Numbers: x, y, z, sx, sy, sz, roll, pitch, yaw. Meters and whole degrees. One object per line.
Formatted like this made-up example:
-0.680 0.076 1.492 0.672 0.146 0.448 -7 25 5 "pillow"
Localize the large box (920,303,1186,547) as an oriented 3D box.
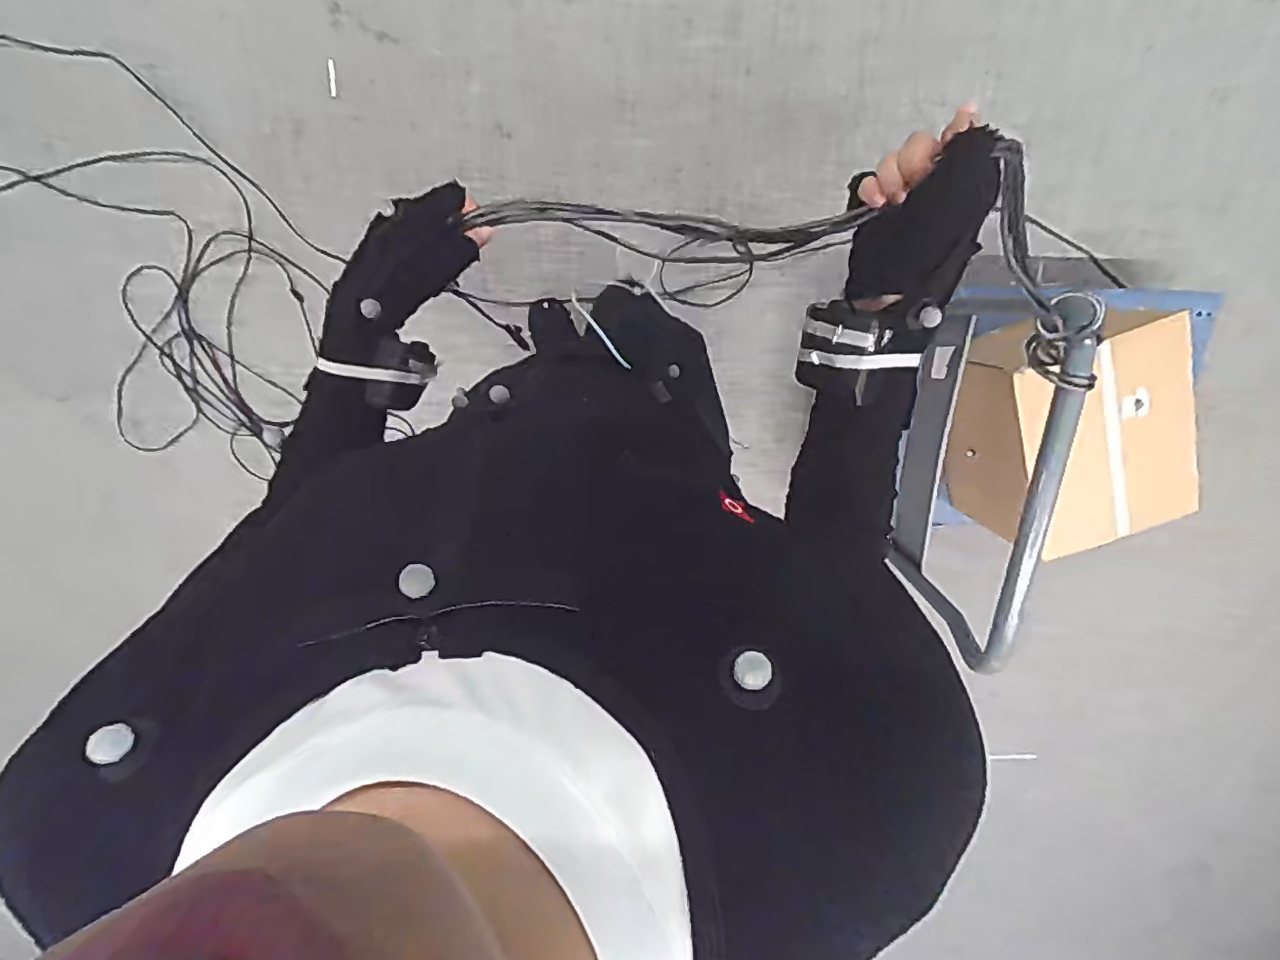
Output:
0.864 -0.132 1.166 0.320 0.320 0.408 -20 107 4 "large box"
